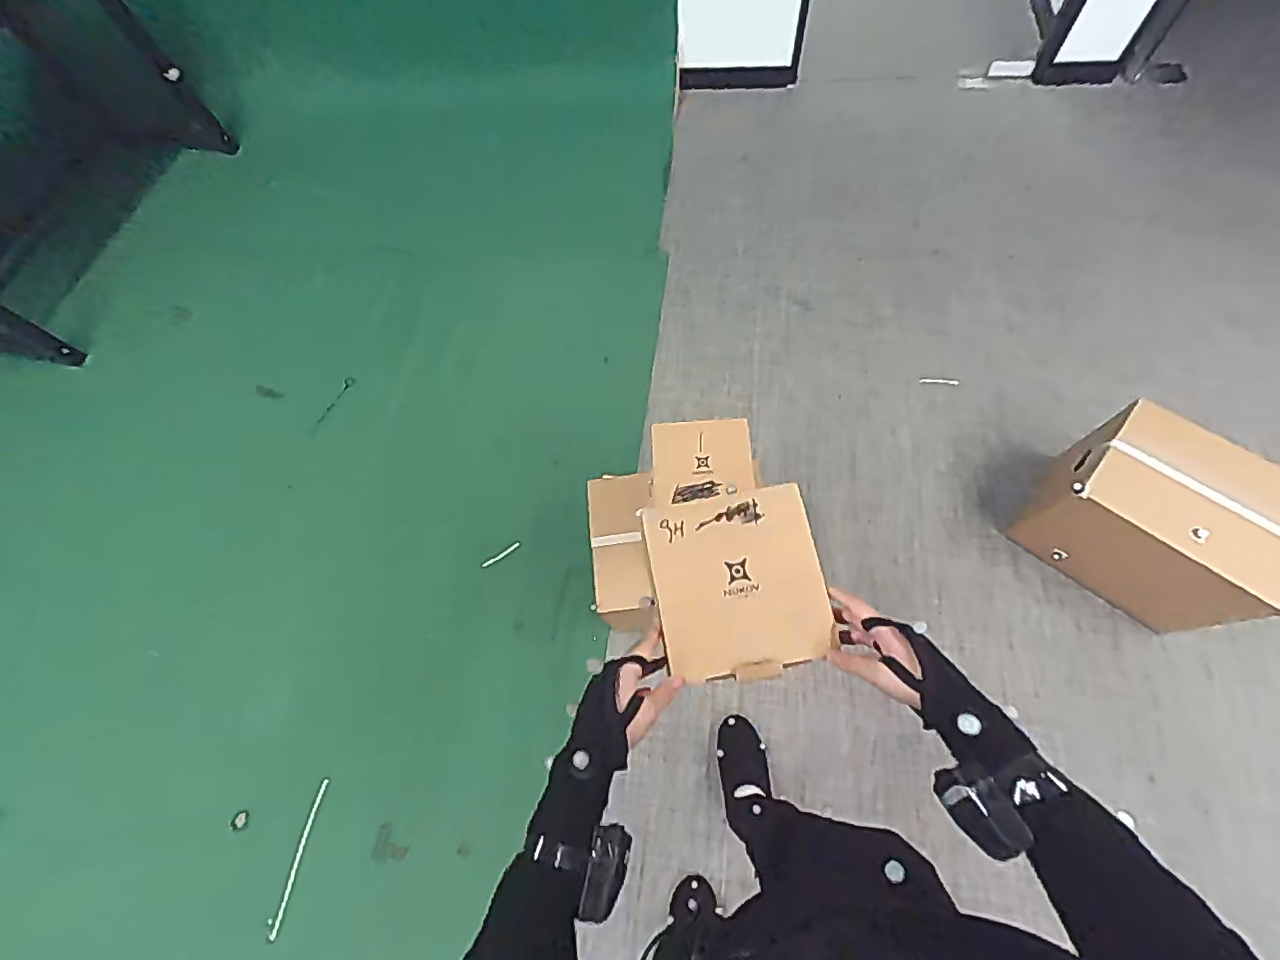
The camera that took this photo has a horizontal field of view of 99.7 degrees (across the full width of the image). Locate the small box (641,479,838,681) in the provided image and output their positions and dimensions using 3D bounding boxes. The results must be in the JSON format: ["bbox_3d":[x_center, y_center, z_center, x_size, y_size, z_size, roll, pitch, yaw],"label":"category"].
[{"bbox_3d":[0.097,0.112,0.607,0.168,0.176,0.179,-10,76,-2],"label":"small box"}]

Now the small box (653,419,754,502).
[{"bbox_3d":[0.112,0.010,0.961,0.168,0.176,0.179,-3,67,4],"label":"small box"}]

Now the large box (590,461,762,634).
[{"bbox_3d":[0.112,0.183,1.333,0.408,0.320,0.320,-8,65,3],"label":"large box"}]
